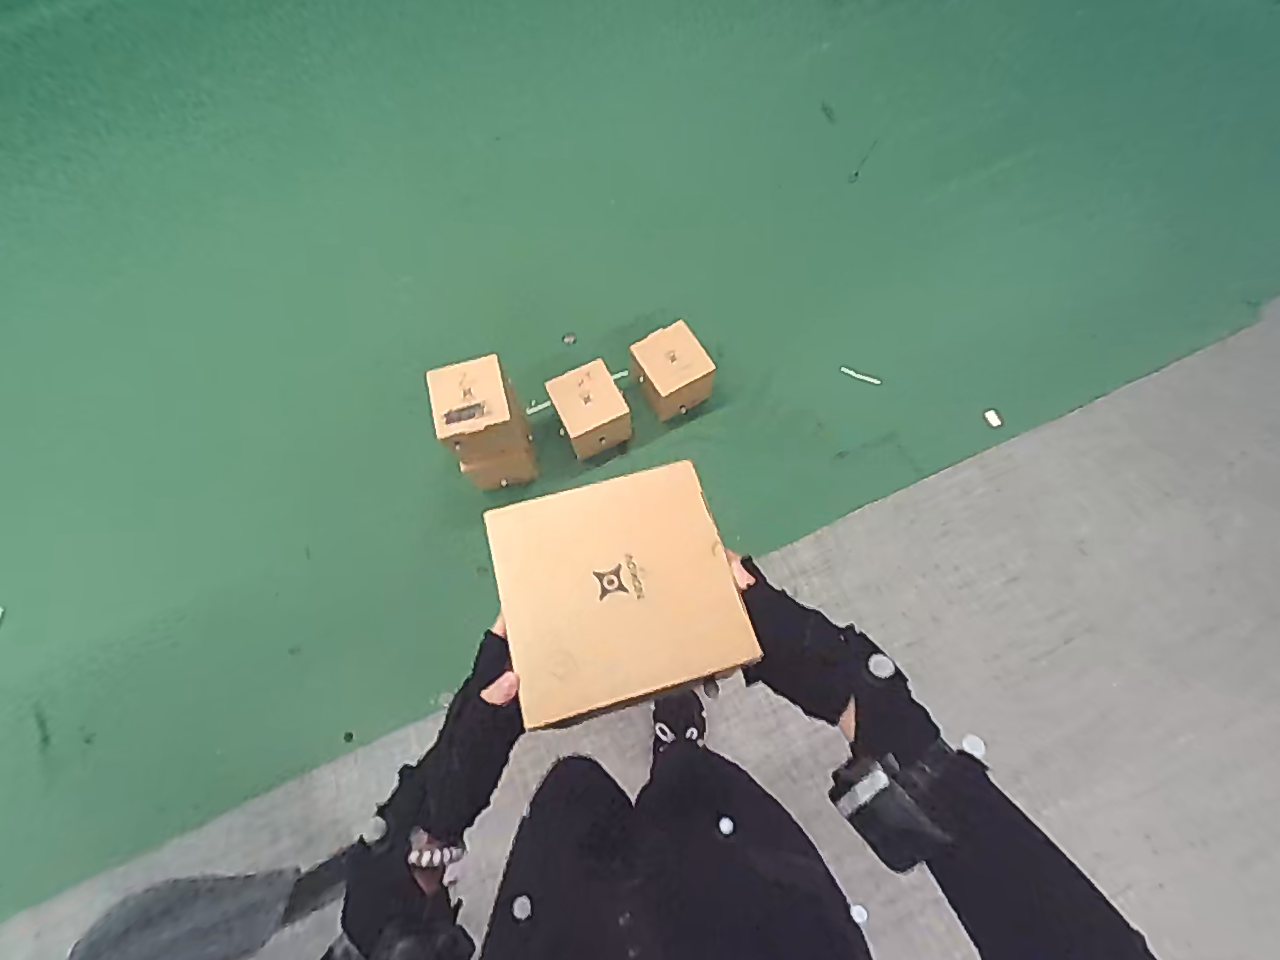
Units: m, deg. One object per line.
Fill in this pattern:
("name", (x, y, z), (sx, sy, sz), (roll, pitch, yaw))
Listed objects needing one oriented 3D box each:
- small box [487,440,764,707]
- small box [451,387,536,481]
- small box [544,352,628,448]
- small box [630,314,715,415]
("small box", (-0.017, 0.092, 0.475), (0.179, 0.176, 0.168), (-15, 67, -8))
("small box", (-0.379, -0.117, 1.419), (0.168, 0.176, 0.179), (-13, 73, -3))
("small box", (-0.137, -0.203, 1.444), (0.168, 0.176, 0.179), (-25, 73, -8))
("small box", (0.084, -0.310, 1.480), (0.168, 0.176, 0.179), (-28, 73, -8))
